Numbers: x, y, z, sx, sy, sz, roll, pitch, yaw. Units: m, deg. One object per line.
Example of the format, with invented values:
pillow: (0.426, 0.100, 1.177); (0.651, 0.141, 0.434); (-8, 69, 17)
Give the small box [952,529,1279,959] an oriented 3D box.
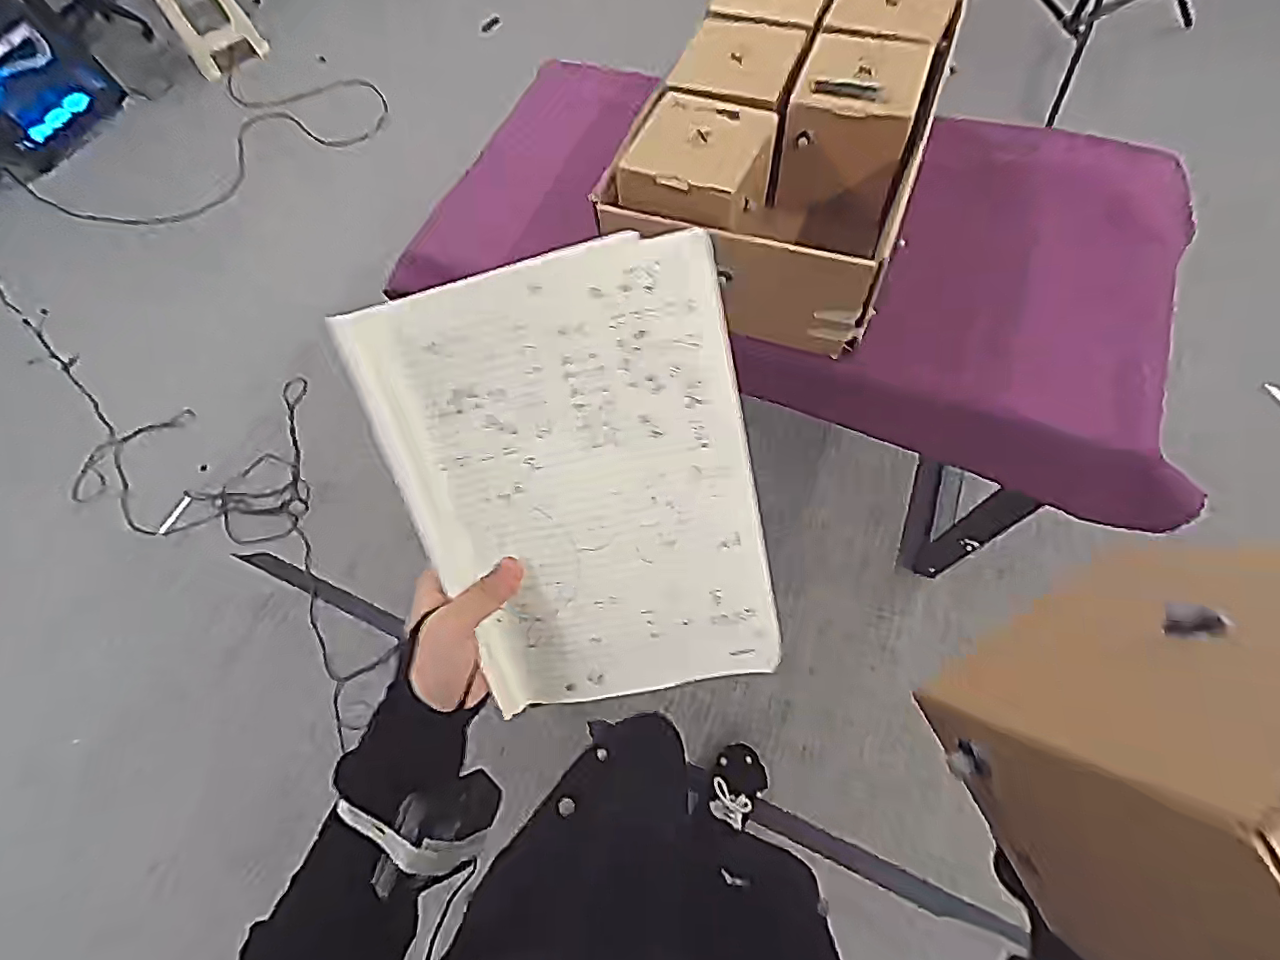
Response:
small box: (0.289, 0.135, 0.254); (0.179, 0.176, 0.168); (-31, 88, -11)
